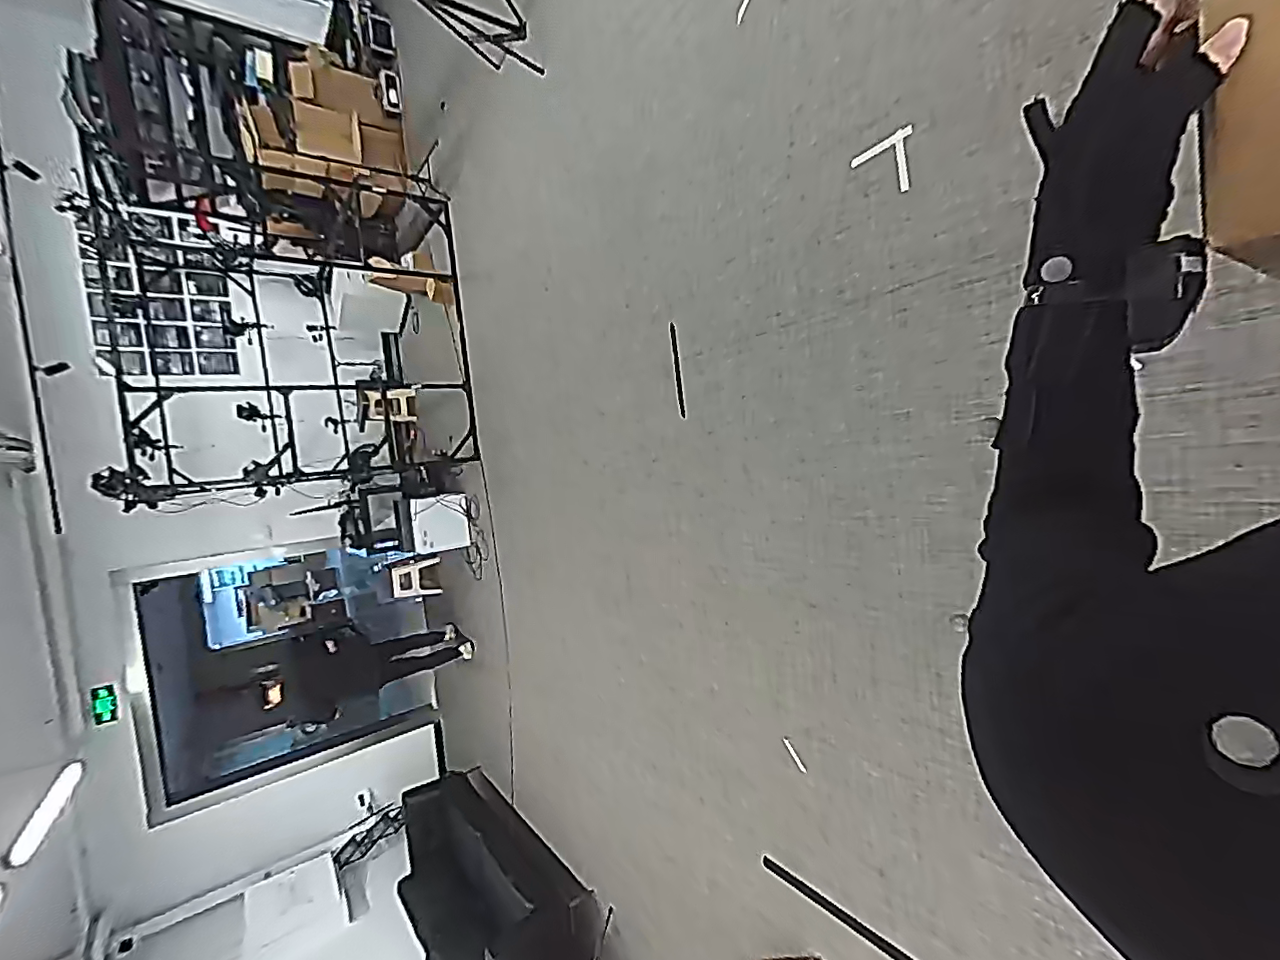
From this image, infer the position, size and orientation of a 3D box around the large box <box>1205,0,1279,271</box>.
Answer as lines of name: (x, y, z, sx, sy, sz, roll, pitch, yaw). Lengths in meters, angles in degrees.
large box: (0.546, -0.316, 0.229, 0.408, 0.320, 0.320, -1, 99, 54)
